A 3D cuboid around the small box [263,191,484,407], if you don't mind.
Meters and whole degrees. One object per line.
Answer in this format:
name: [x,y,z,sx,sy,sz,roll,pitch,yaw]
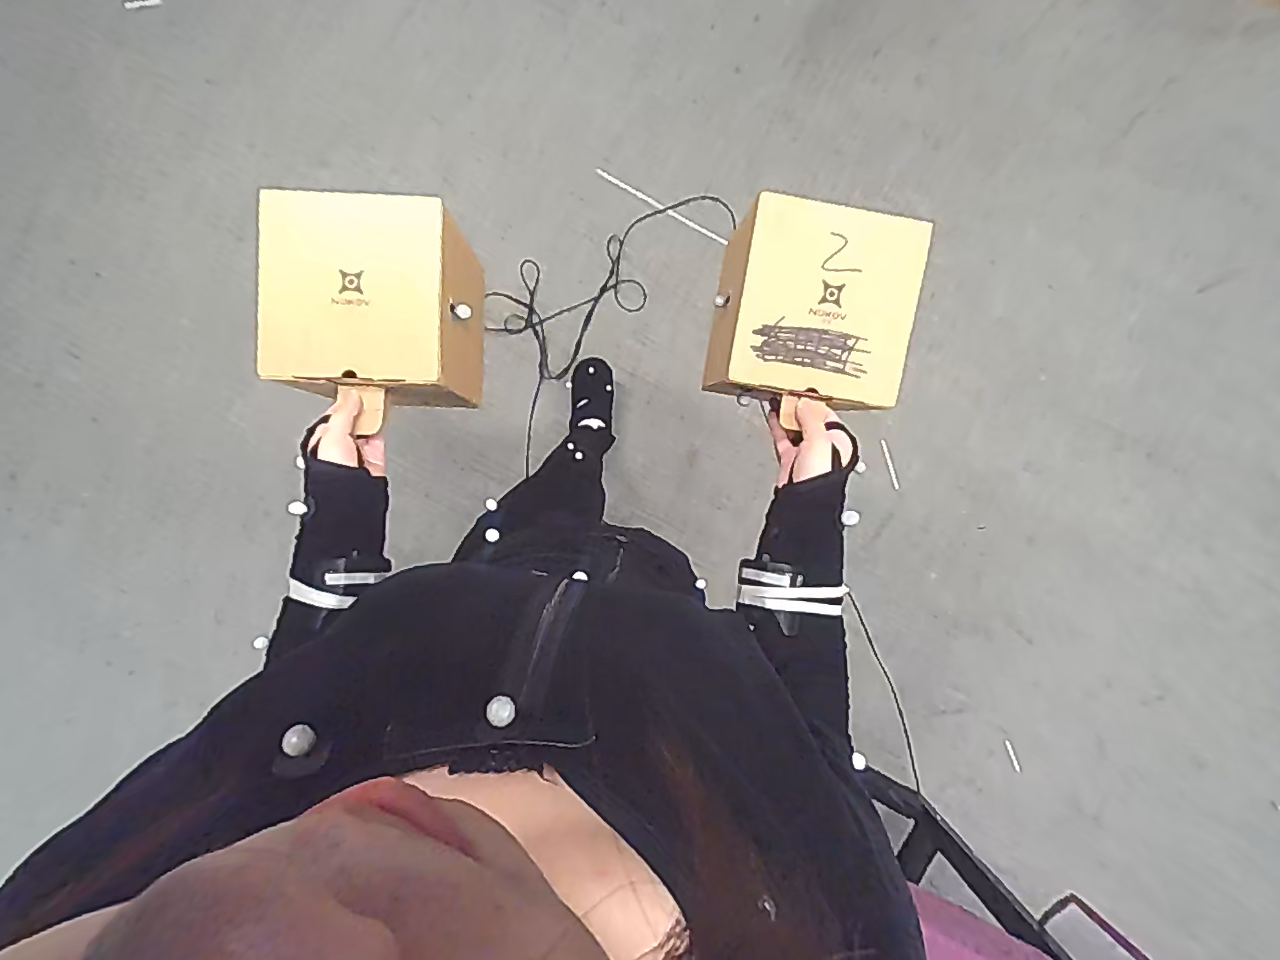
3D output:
small box: [-0.273,-0.181,0.591,0.168,0.176,0.179,2,90,-3]
